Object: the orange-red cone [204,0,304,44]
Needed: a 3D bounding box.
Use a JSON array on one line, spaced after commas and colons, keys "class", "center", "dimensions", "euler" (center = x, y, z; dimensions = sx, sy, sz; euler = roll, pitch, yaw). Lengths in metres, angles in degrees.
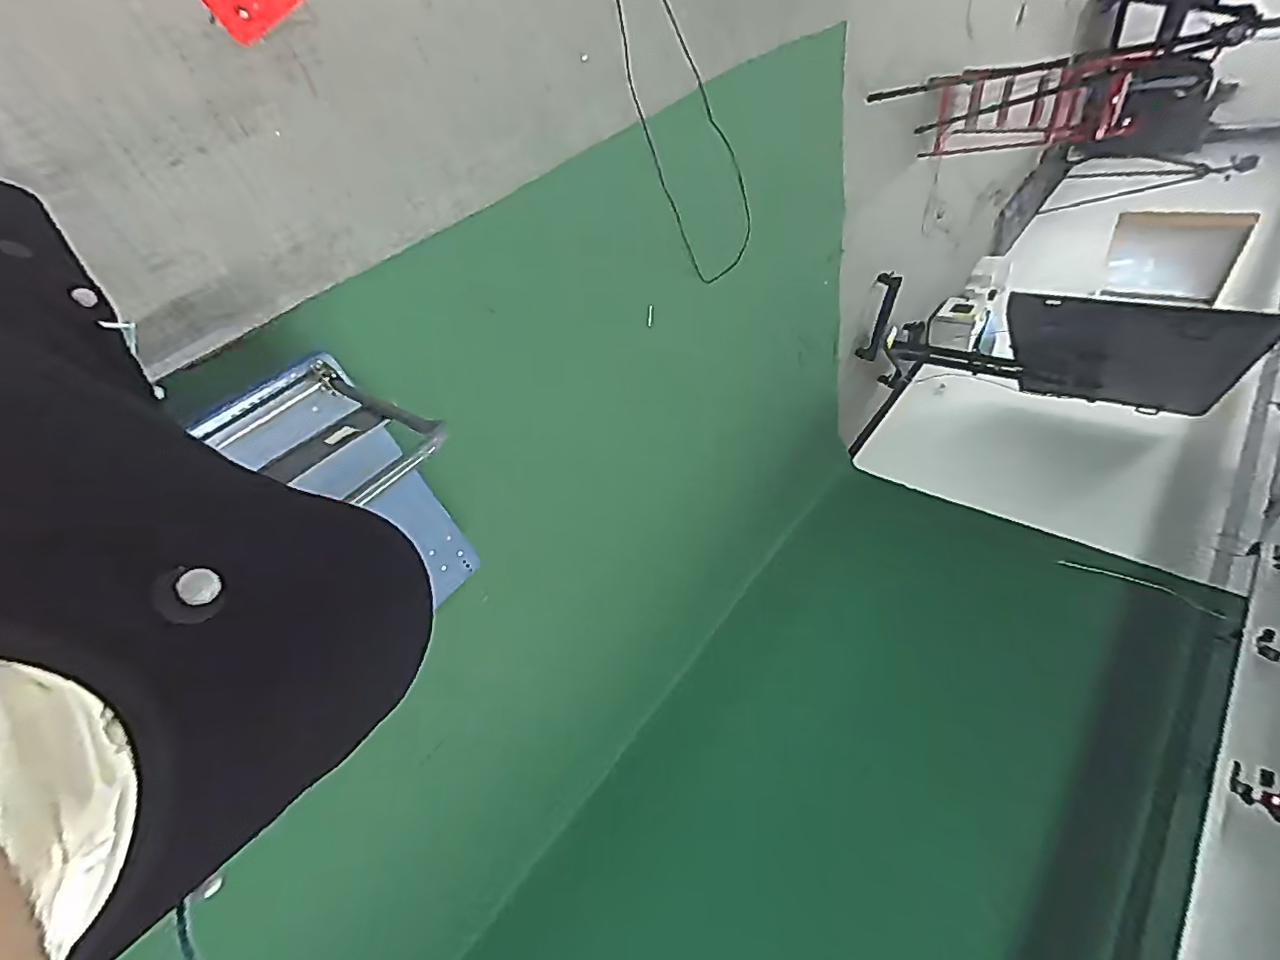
[{"class": "orange-red cone", "center": [-0.699, -0.989, 1.001], "dimensions": [0.199, 0.360, 0.198], "euler": [-56, 143, -15]}]
